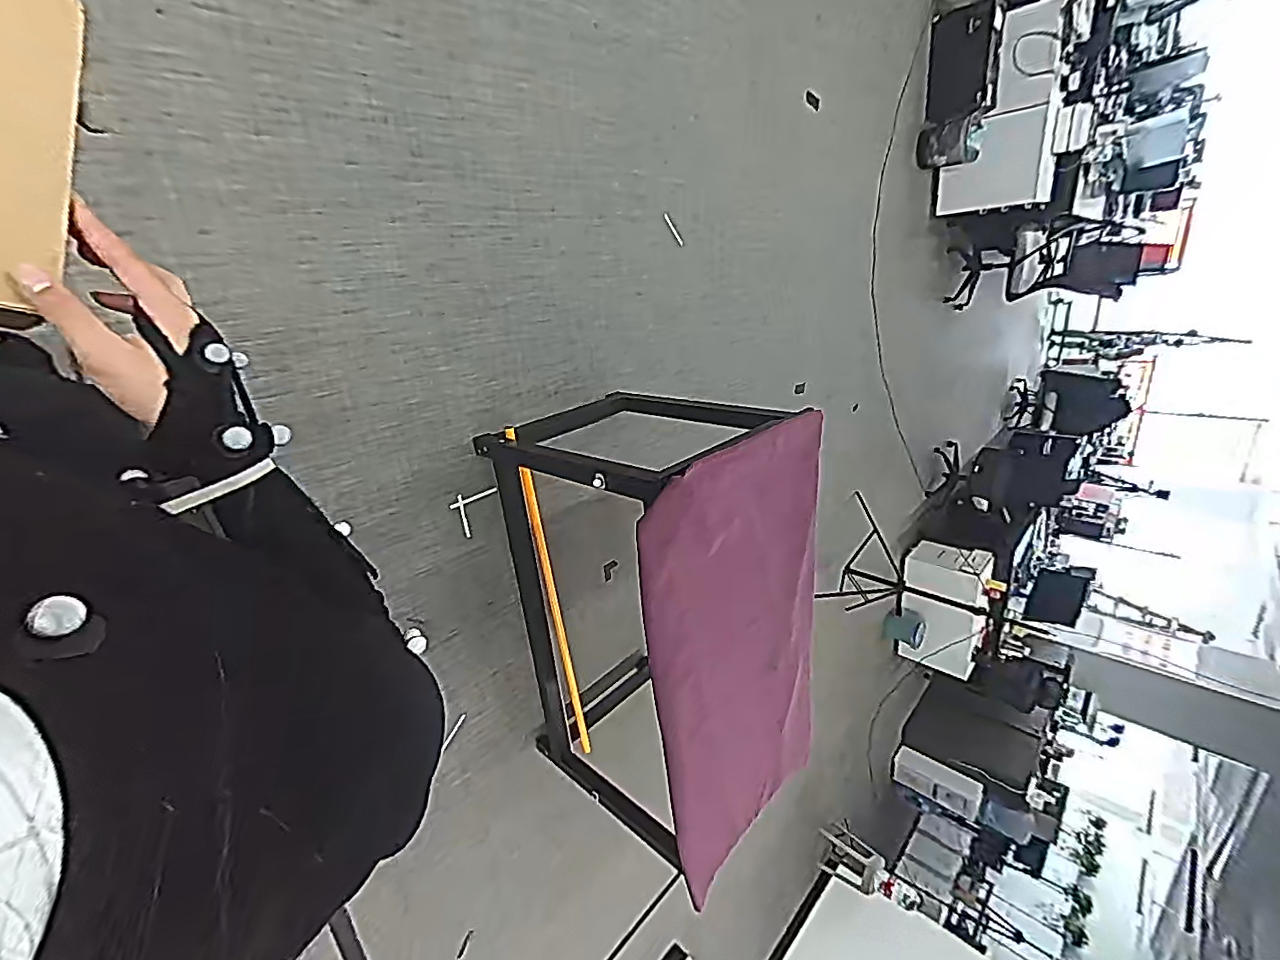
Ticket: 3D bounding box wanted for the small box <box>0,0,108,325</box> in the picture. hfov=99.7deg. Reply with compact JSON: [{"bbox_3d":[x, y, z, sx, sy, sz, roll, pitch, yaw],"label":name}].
[{"bbox_3d":[-0.416,-0.192,0.281,0.168,0.176,0.179,6,91,-53],"label":"small box"}]
